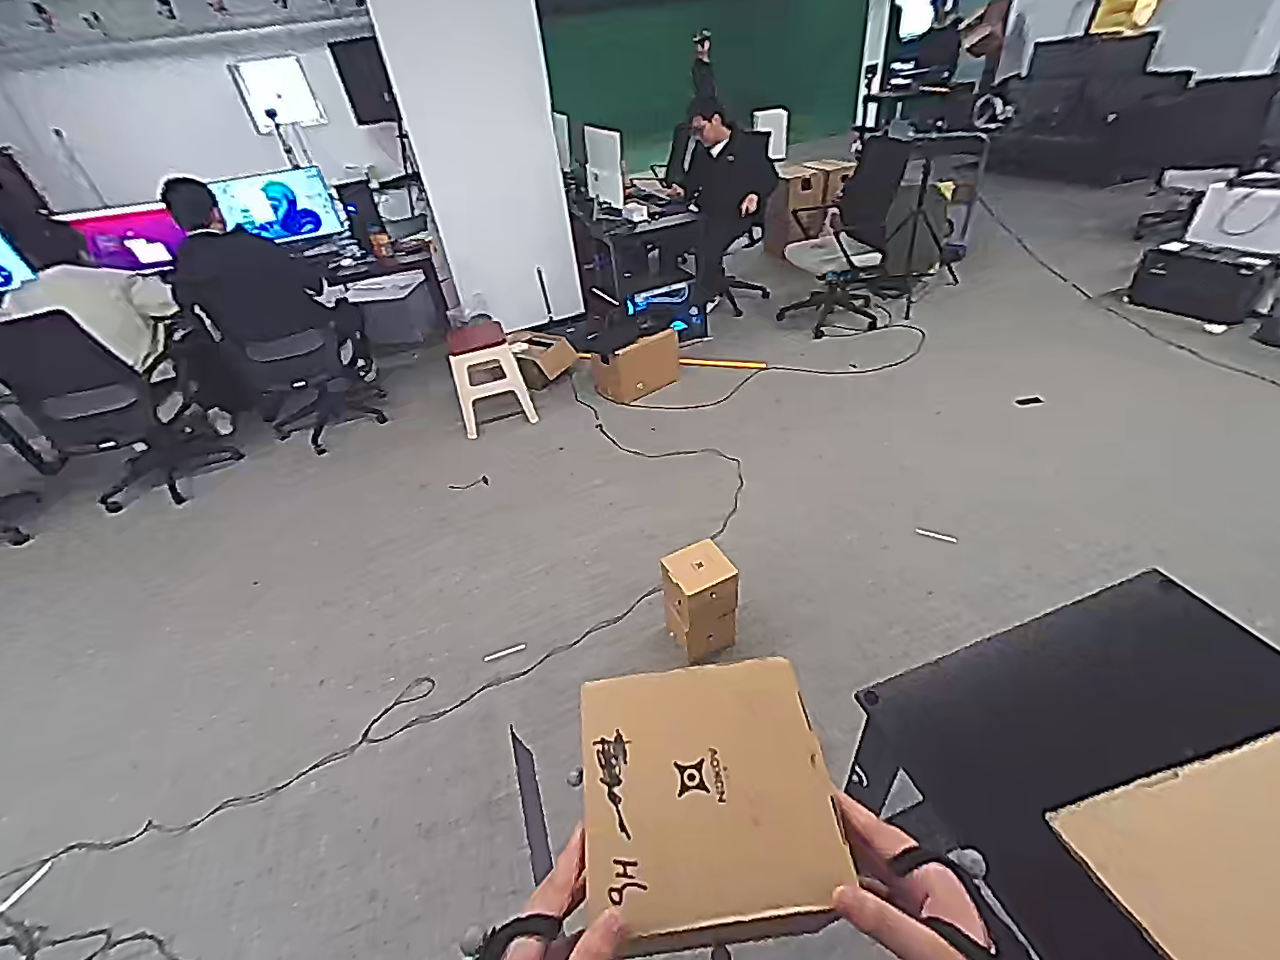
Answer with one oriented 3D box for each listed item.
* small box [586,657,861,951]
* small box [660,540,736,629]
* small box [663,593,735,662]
[{"bbox_3d":[0.050,0.270,0.452,0.179,0.176,0.168,-6,44,-3],"label":"small box"},{"bbox_3d":[0.178,0.320,1.645,0.179,0.176,0.168,-20,41,-17],"label":"small box"},{"bbox_3d":[0.189,0.449,1.744,0.179,0.176,0.168,-20,40,-14],"label":"small box"}]
